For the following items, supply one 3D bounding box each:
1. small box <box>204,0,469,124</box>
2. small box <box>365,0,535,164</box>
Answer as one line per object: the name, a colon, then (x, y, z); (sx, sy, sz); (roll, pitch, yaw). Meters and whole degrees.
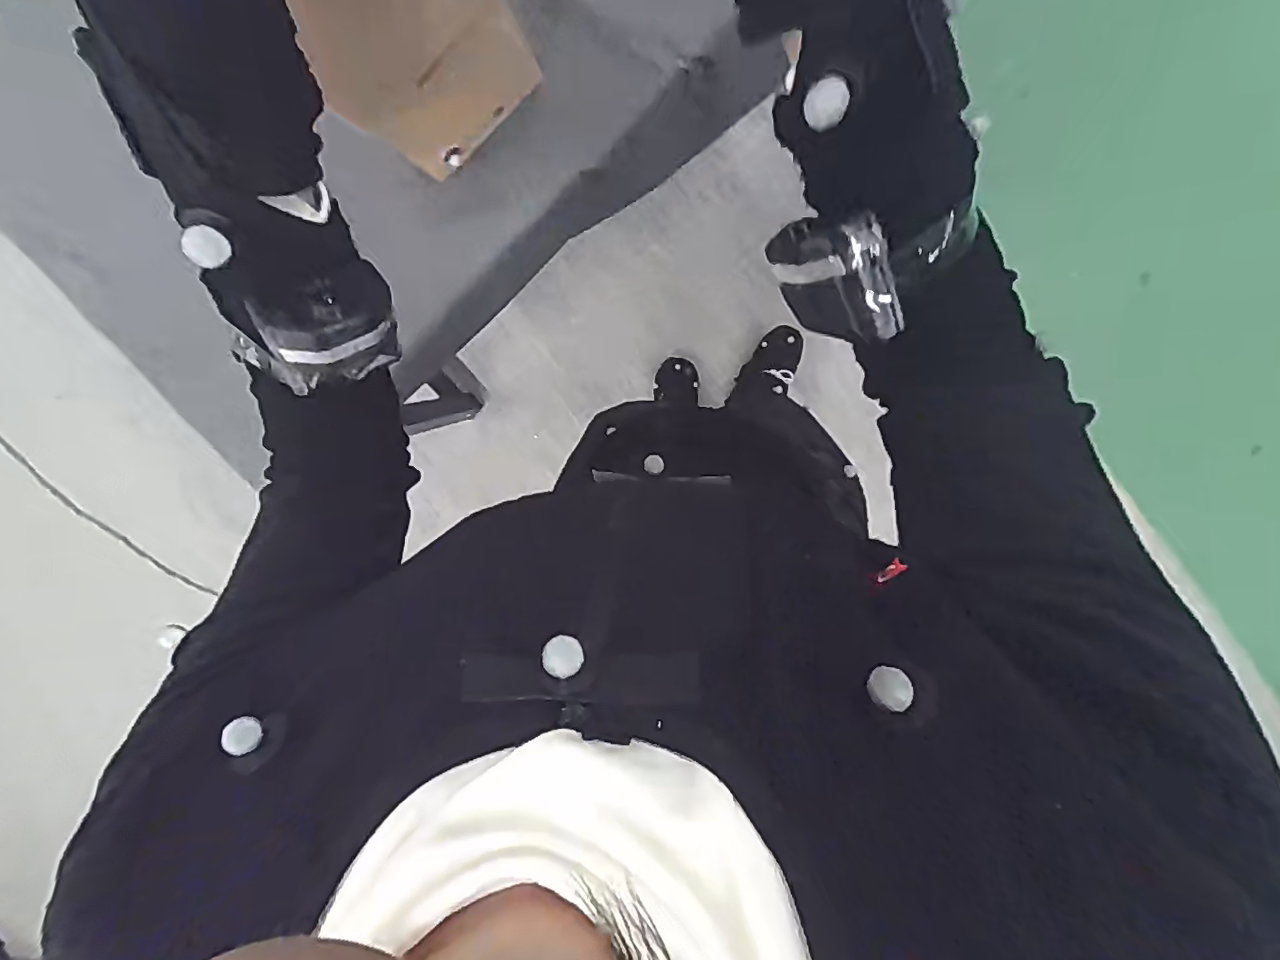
small box: (-0.234, -0.400, 0.366); (0.168, 0.176, 0.179); (44, 102, -4)
small box: (-0.232, -0.452, 0.537); (0.168, 0.176, 0.179); (-39, 95, 12)
